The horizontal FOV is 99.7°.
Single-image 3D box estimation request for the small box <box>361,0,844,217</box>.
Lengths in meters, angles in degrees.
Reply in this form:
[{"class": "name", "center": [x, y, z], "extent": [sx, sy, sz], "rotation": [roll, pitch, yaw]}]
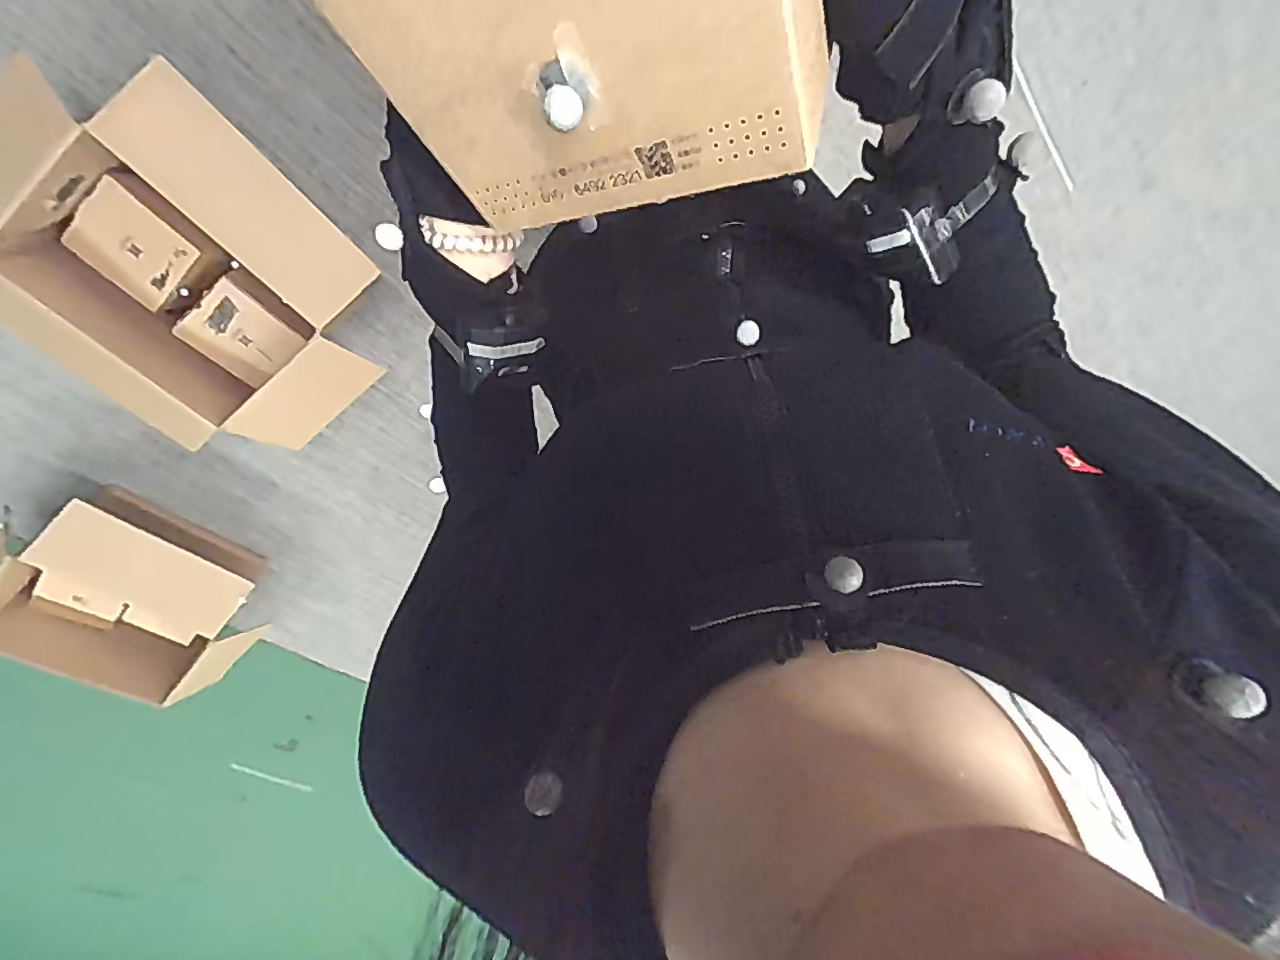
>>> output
[{"class": "small box", "center": [-0.015, -0.241, 0.210], "extent": [0.168, 0.179, 0.176], "rotation": [3, 158, 28]}]
